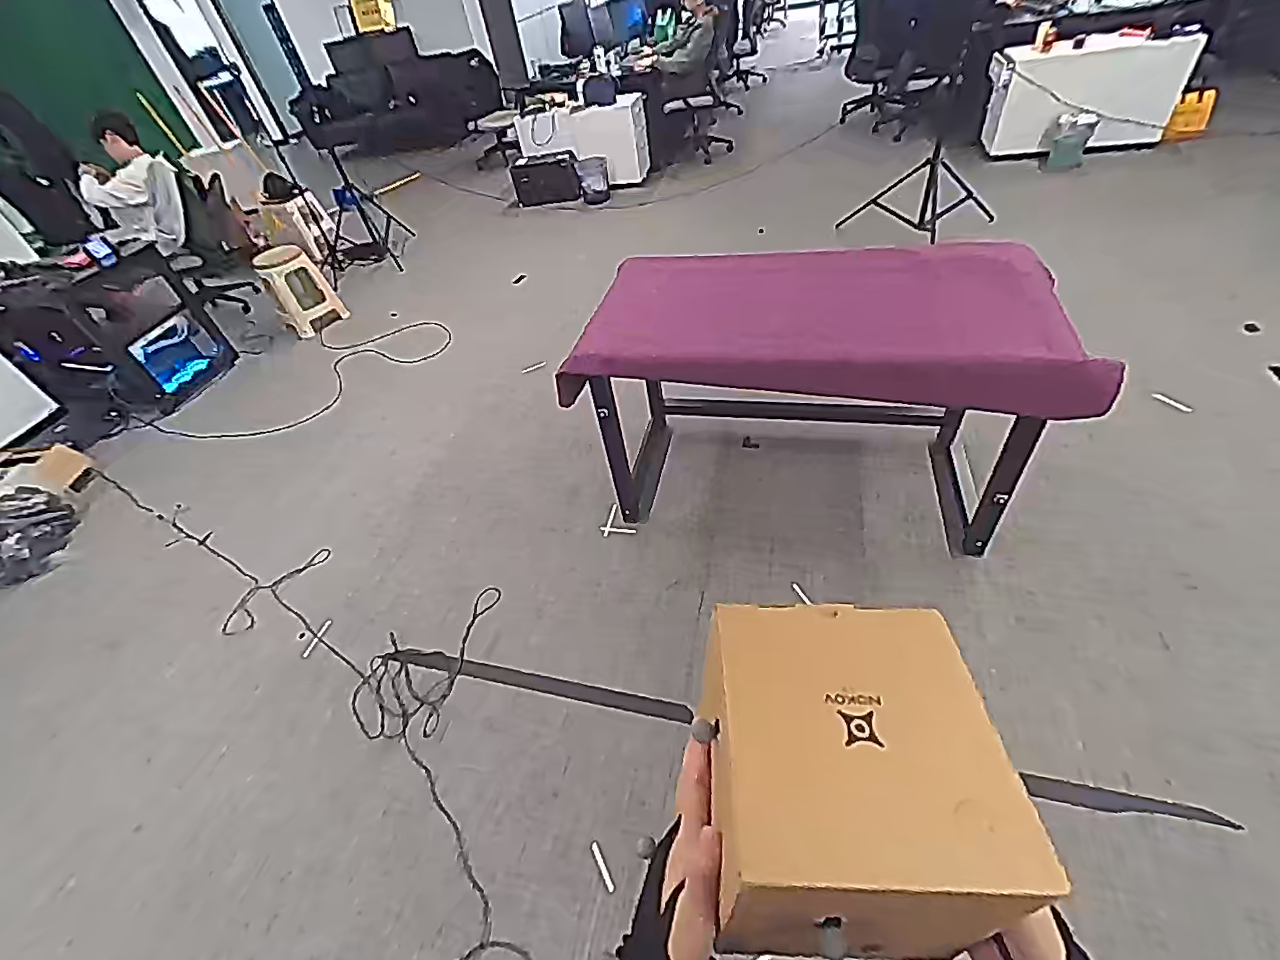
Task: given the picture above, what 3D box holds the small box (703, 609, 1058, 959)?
[{"bbox_3d":[0.136,0.216,0.390,0.168,0.176,0.179,1,38,1],"label":"small box"}]
